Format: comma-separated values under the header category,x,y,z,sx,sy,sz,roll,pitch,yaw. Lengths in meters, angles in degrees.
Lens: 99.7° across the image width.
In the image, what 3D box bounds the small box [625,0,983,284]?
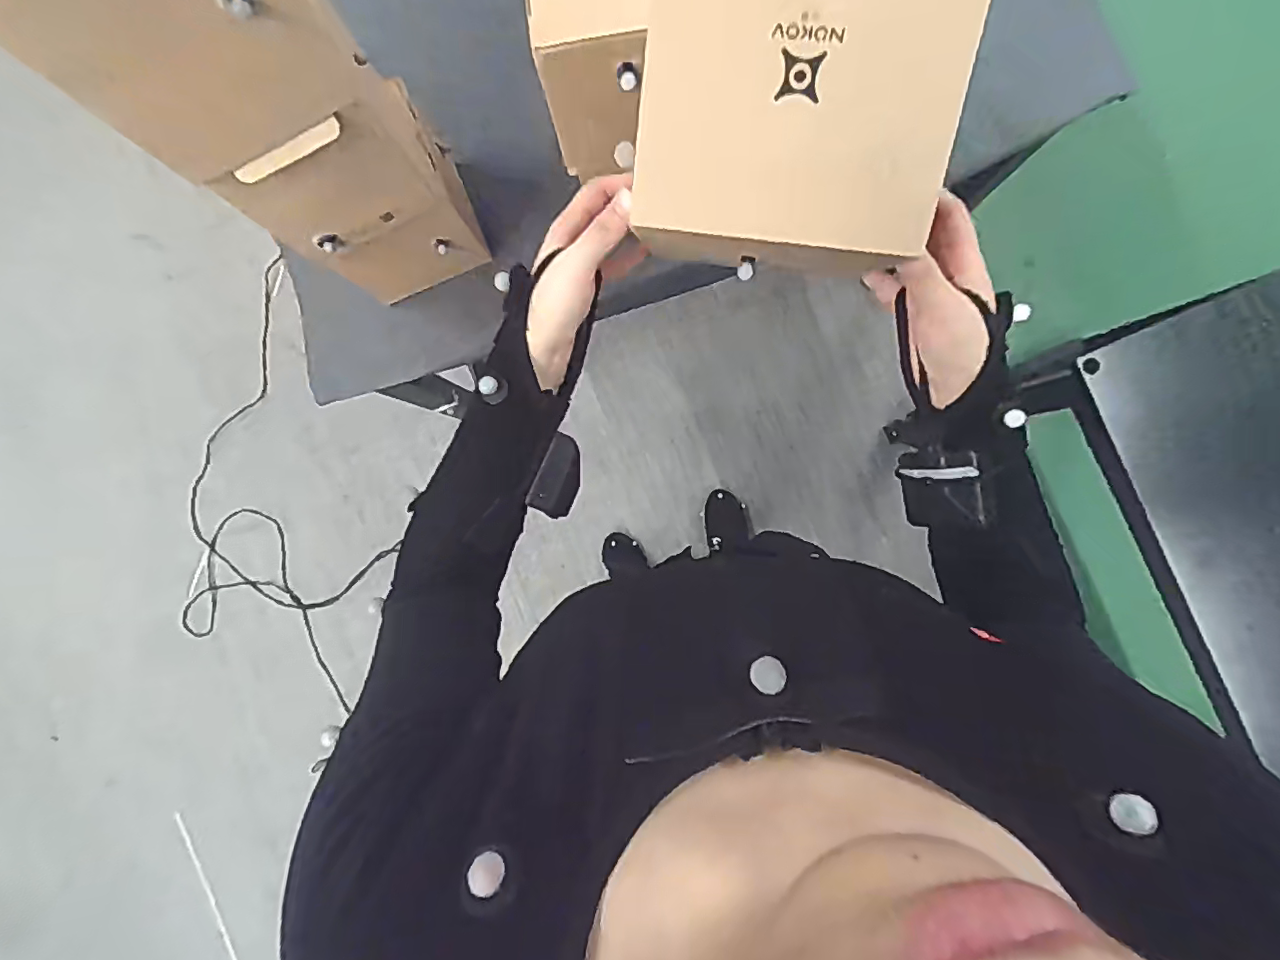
category,x,y,z,sx,sy,sz,roll,pitch,yaw
small box,0.091,-0.230,0.355,0.168,0.176,0.179,8,107,4

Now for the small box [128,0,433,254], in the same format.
category,x,y,z,sx,sy,sz,roll,pitch,yaw
small box,-0.347,-0.363,0.557,0.168,0.176,0.179,-27,85,2

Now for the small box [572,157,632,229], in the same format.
category,x,y,z,sx,sy,sz,roll,pitch,yaw
small box,-0.008,-0.451,0.701,0.168,0.176,0.179,-13,88,4

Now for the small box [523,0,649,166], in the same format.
category,x,y,z,sx,sy,sz,roll,pitch,yaw
small box,-0.013,-0.449,0.537,0.179,0.176,0.168,-8,87,4

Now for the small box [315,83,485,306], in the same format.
category,x,y,z,sx,sy,sz,roll,pitch,yaw
small box,-0.328,-0.363,0.721,0.179,0.176,0.168,-23,86,4
